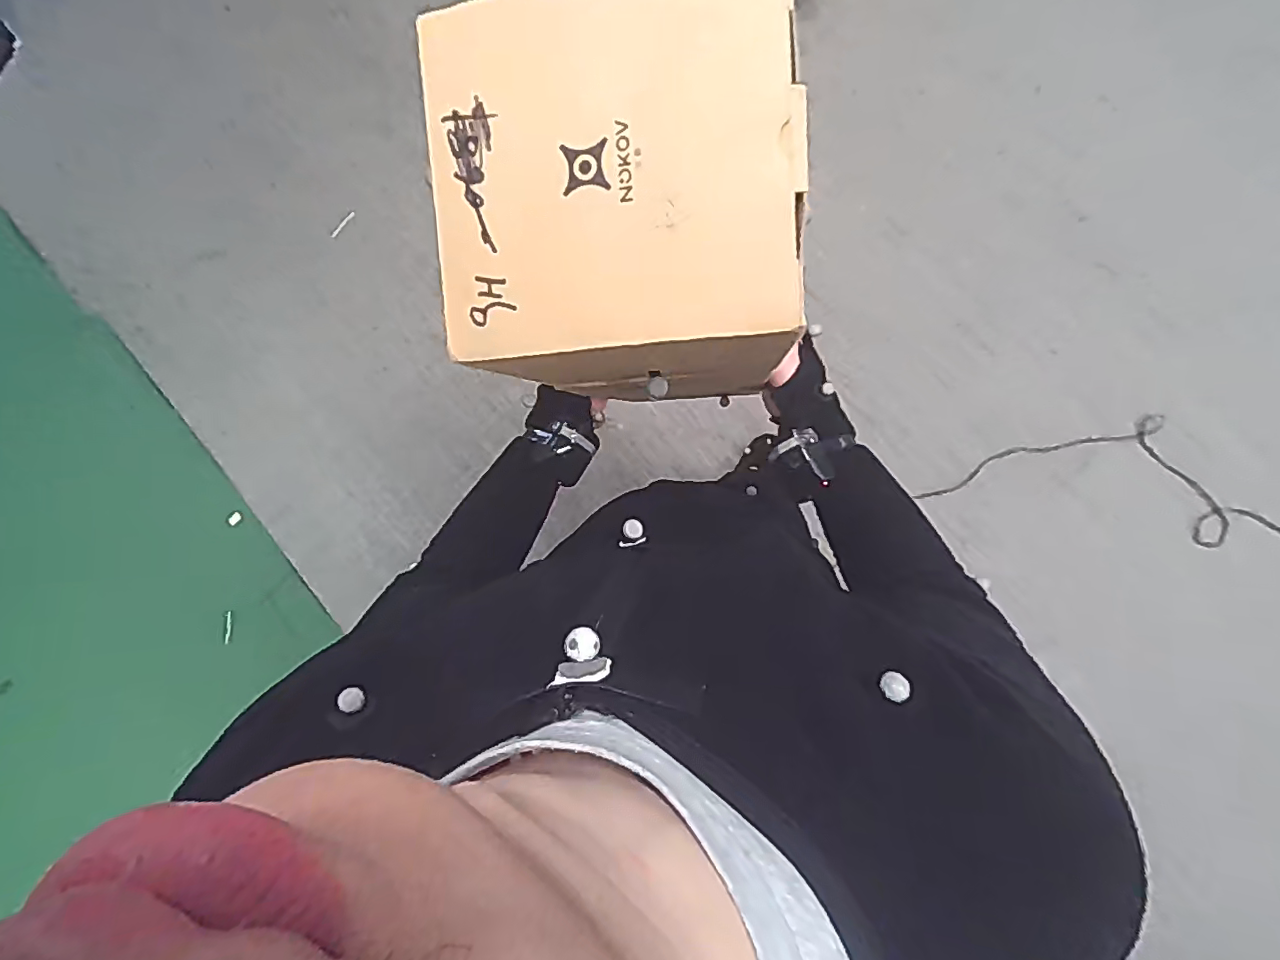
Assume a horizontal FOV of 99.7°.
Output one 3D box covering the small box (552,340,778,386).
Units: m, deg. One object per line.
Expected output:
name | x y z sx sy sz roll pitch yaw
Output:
small box | 0.025 -0.176 0.478 0.179 0.176 0.168 -3 96 10

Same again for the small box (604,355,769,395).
small box | 0.056 -0.192 0.638 0.179 0.176 0.168 -2 95 12

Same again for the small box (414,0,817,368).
small box | -0.001 -0.159 0.317 0.179 0.176 0.168 -2 96 10
